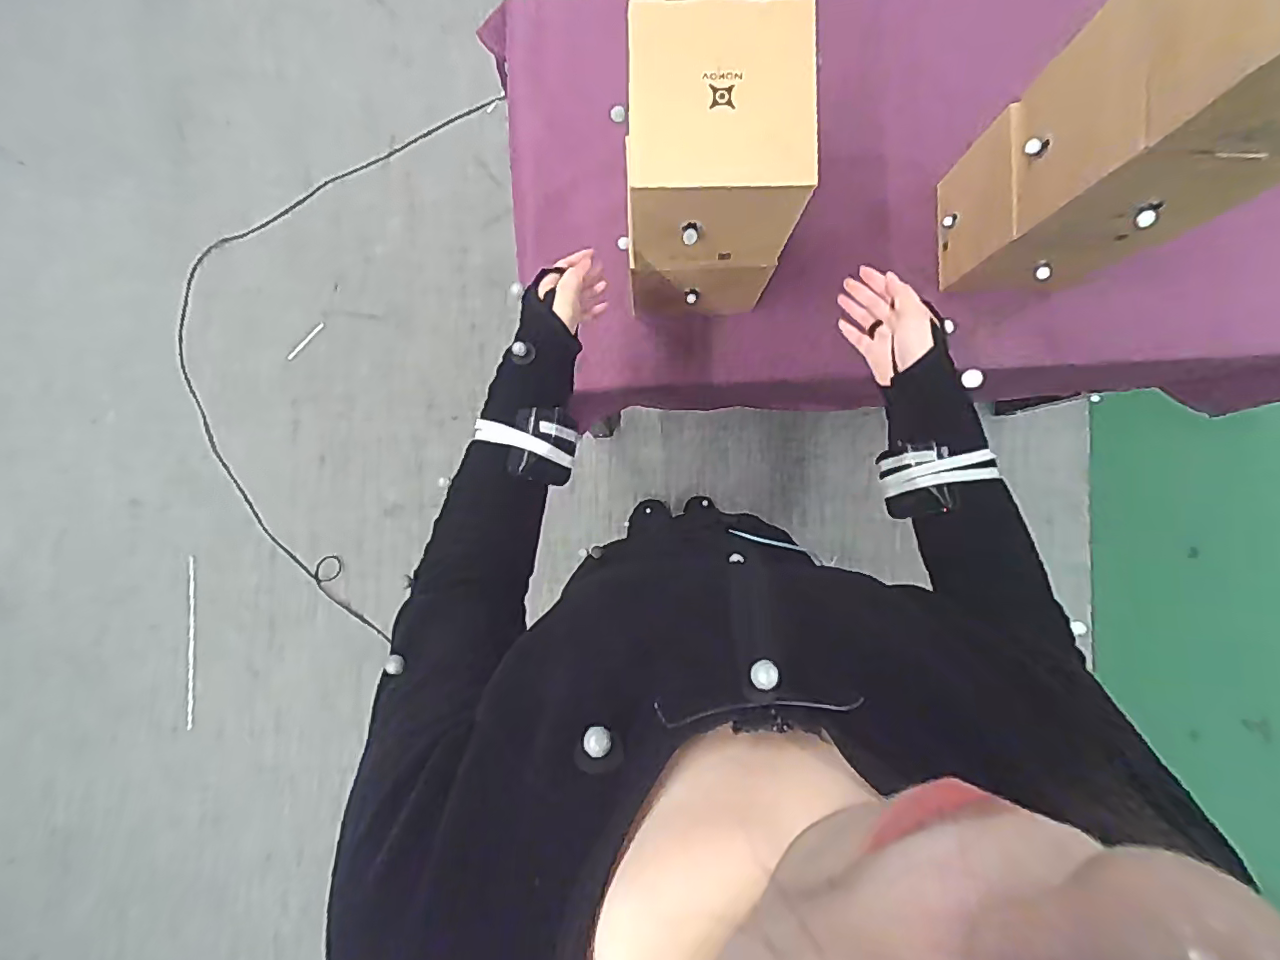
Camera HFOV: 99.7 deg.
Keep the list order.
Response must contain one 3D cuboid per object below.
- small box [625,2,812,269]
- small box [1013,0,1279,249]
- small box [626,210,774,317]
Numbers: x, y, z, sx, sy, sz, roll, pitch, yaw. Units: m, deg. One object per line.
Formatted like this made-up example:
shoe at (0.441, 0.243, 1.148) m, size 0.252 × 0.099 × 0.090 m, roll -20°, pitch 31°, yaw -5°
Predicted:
small box at (0.072, -0.333, 0.557) m, size 0.168 × 0.176 × 0.179 m, roll 0°, pitch 86°, yaw 1°
small box at (0.516, -0.356, 0.550) m, size 0.168 × 0.176 × 0.179 m, roll 4°, pitch 88°, yaw 1°
small box at (0.072, -0.324, 0.719) m, size 0.179 × 0.176 × 0.168 m, roll -1°, pitch 88°, yaw 2°
